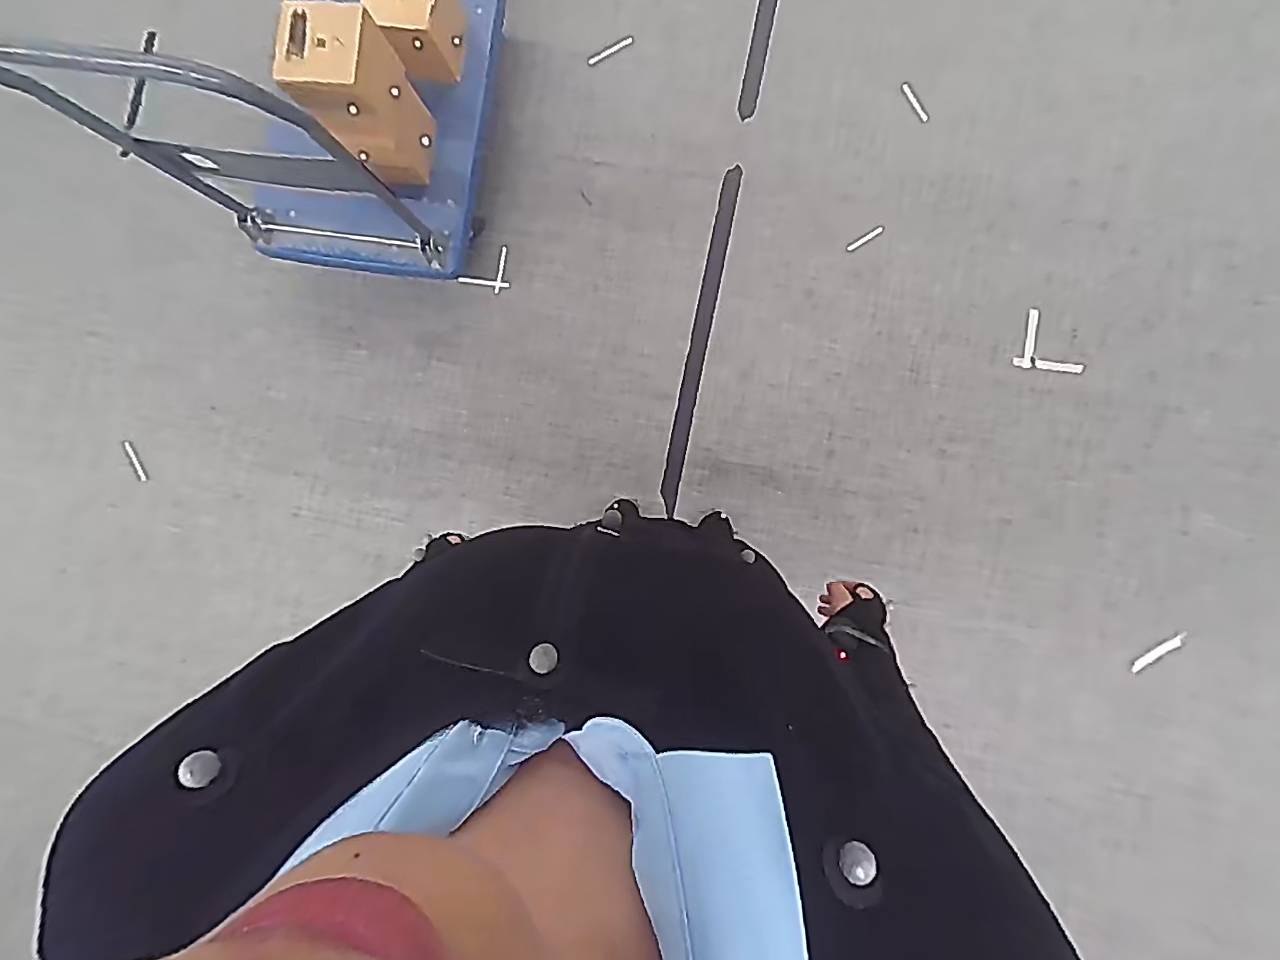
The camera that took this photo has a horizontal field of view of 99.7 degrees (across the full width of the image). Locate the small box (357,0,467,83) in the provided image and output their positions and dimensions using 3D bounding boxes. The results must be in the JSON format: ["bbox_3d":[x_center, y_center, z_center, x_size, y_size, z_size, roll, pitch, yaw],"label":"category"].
[{"bbox_3d":[-0.546,-1.110,1.315,0.179,0.176,0.168,9,89,5],"label":"small box"}]

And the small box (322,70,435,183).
[{"bbox_3d":[-0.628,-0.850,1.314,0.179,0.176,0.168,8,90,4],"label":"small box"}]
